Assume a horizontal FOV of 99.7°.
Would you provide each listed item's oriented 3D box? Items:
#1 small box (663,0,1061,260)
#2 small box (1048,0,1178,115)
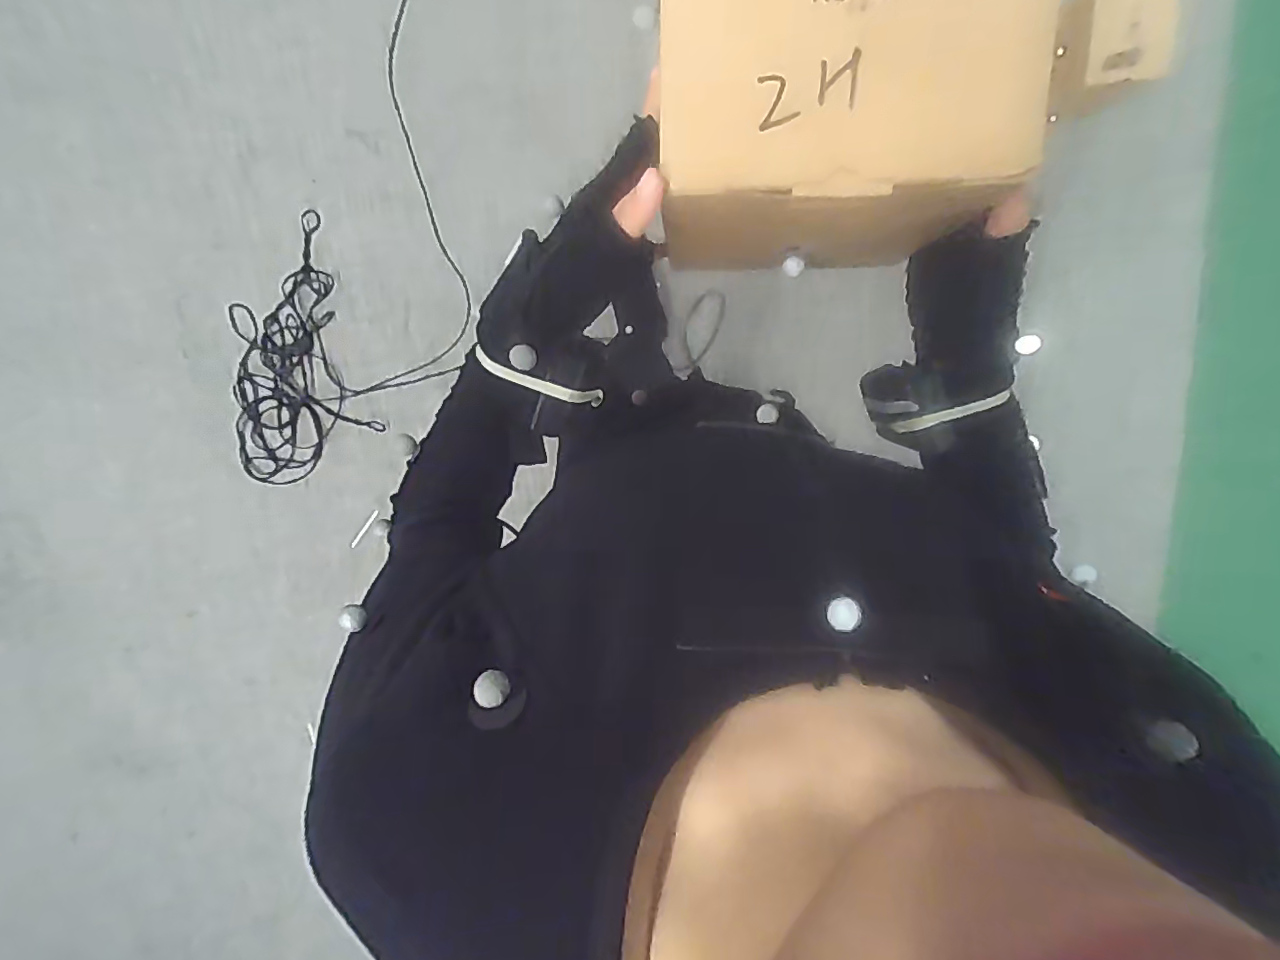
[{"bbox_3d":[0.099,-0.236,0.304,0.168,0.176,0.179,1,99,6],"label":"small box"},{"bbox_3d":[0.976,-0.905,1.150,0.168,0.176,0.179,-3,102,3],"label":"small box"}]
